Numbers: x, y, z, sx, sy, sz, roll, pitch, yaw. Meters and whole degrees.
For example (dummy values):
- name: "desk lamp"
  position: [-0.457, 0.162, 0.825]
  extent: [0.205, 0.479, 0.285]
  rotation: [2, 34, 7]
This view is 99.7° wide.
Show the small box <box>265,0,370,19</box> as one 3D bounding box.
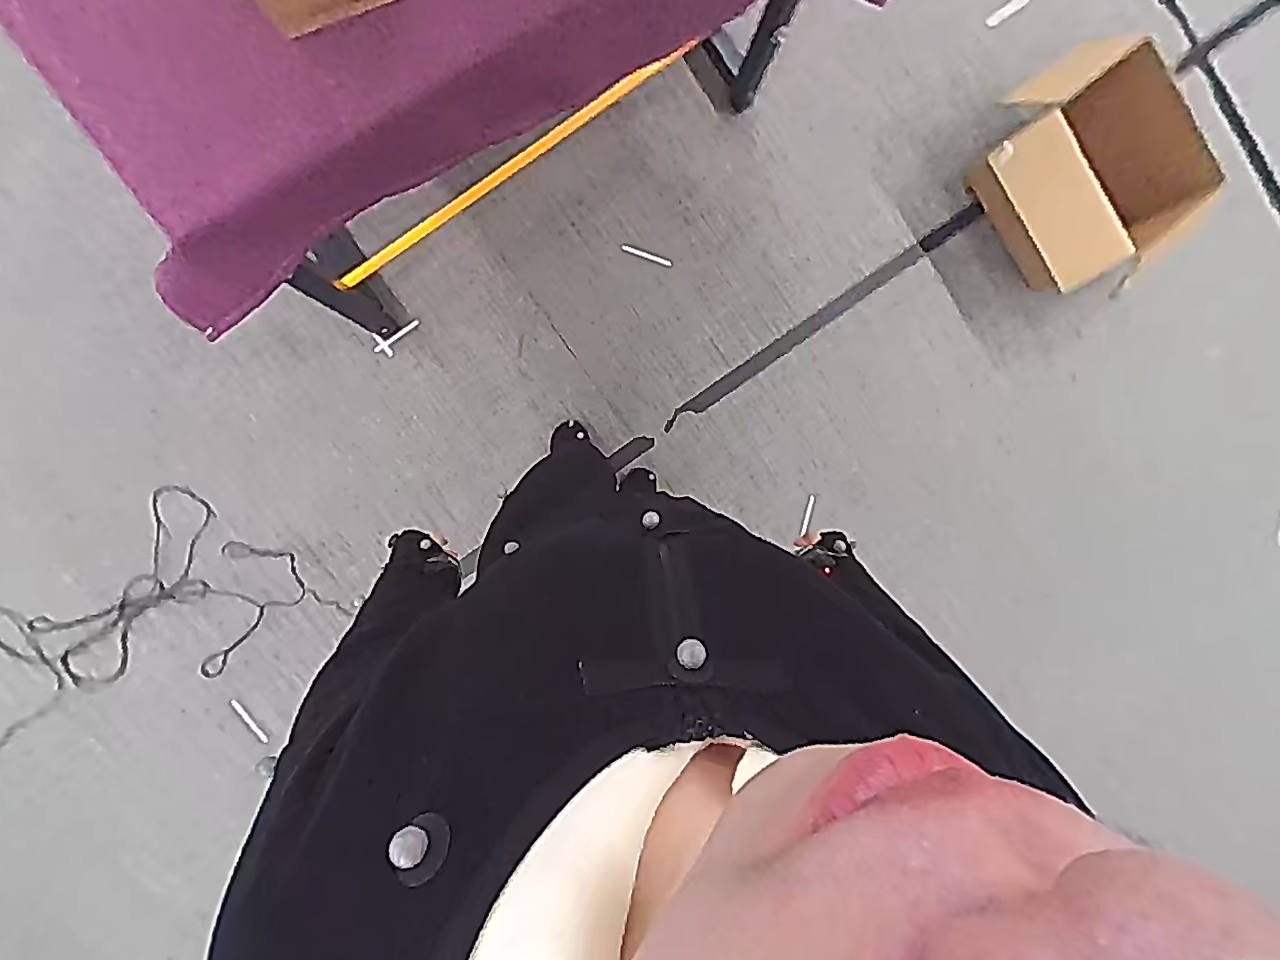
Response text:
- name: "small box"
  position: [-0.404, -0.677, 0.611]
  extent: [0.168, 0.176, 0.179]
  rotation: [-24, 95, -5]
